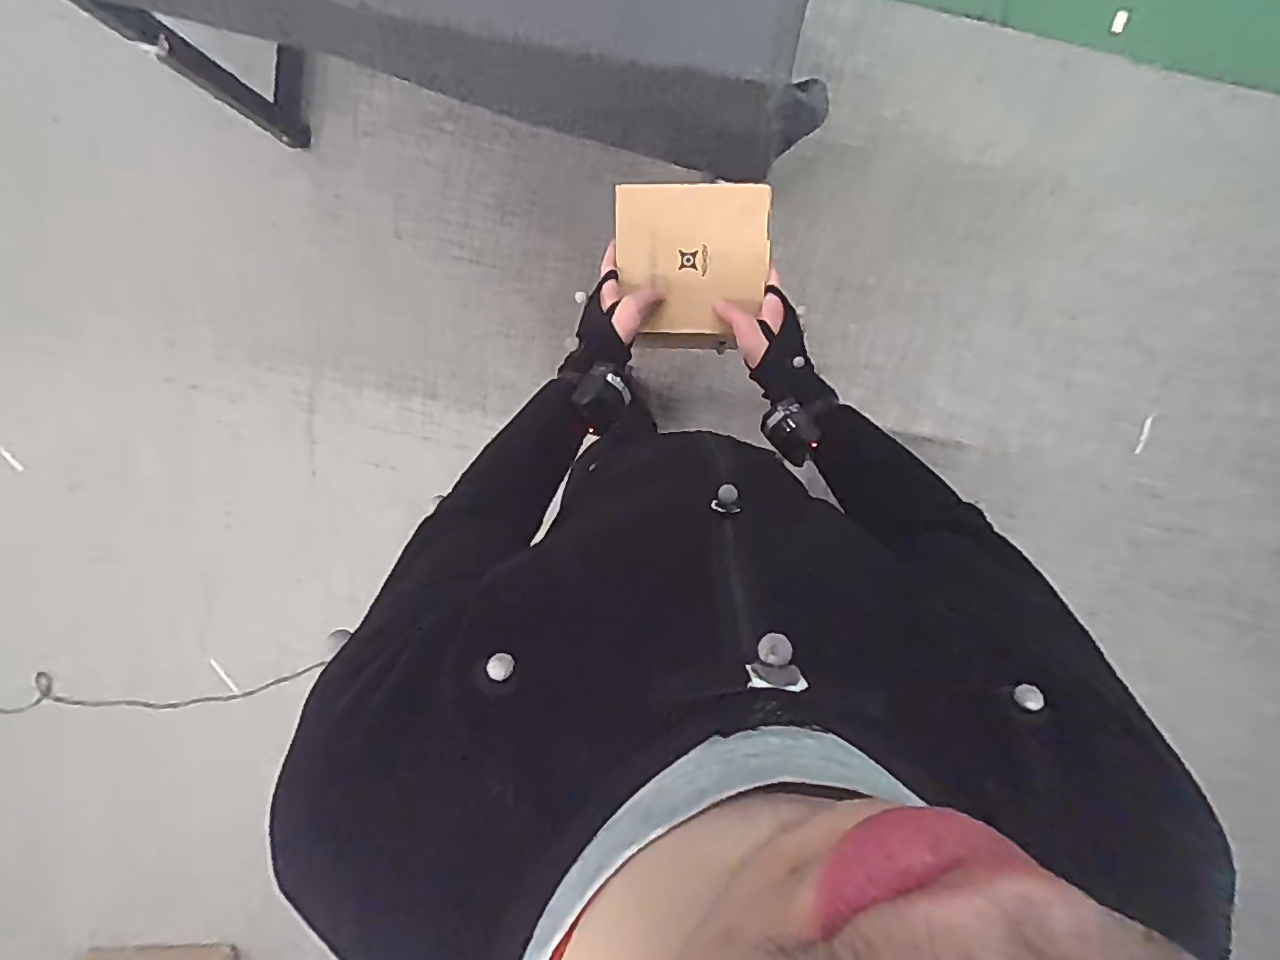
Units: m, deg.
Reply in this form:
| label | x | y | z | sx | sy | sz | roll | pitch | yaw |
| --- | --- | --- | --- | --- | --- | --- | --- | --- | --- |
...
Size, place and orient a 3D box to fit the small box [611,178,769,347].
| label | x | y | z | sx | sy | sz | roll | pitch | yaw |
| --- | --- | --- | --- | --- | --- | --- | --- | --- | --- |
| small box | 0.060 | -0.263 | 0.687 | 0.179 | 0.176 | 0.168 | 1 | 97 | 5 |
